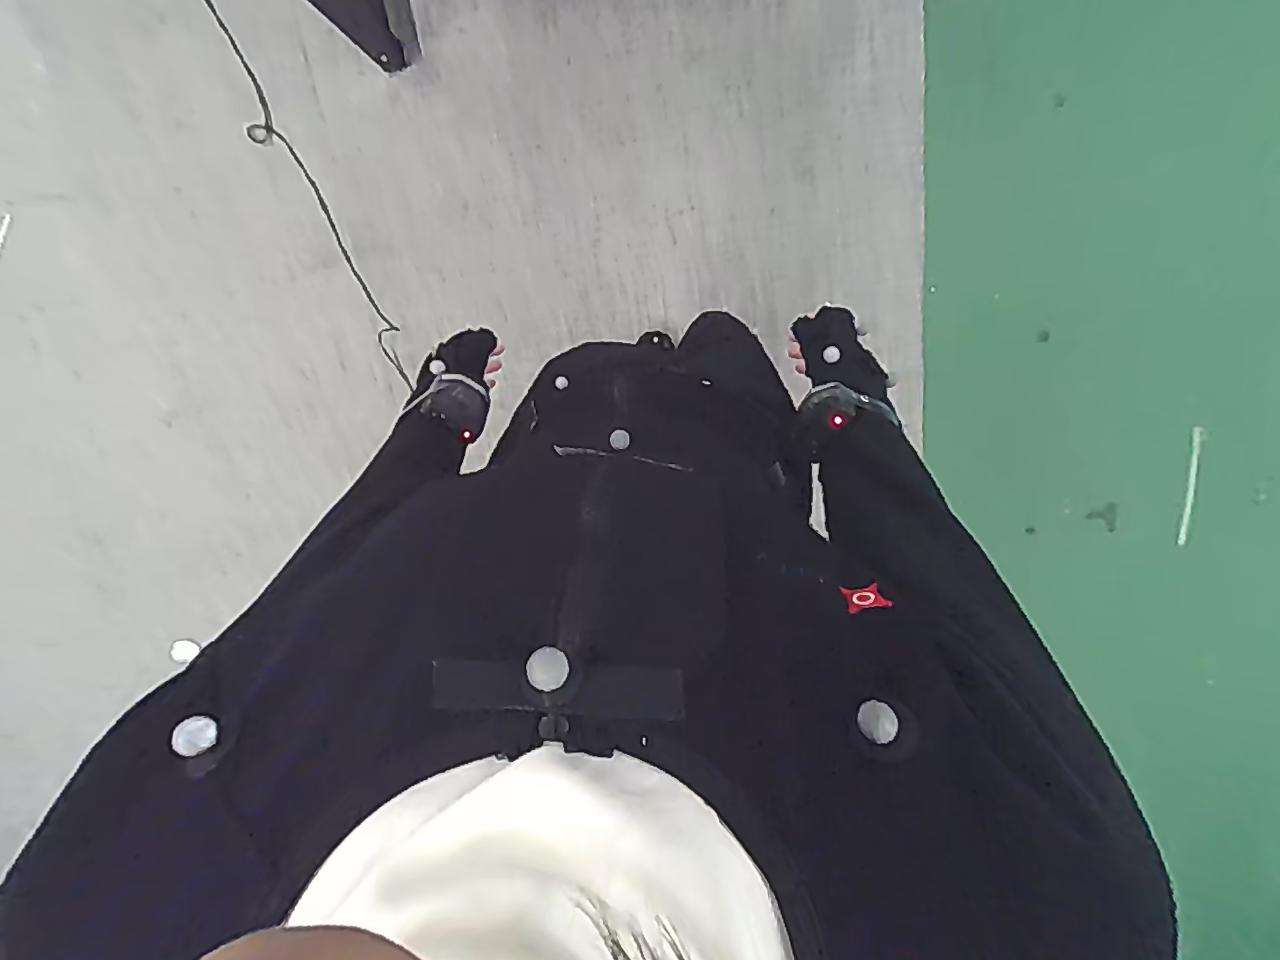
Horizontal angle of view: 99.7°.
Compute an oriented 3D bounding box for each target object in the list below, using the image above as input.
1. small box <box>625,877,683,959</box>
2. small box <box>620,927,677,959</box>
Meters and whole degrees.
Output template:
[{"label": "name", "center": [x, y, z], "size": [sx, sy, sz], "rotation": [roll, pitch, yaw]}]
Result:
[{"label": "small box", "center": [0.048, 1.447, 1.780], "size": [0.179, 0.176, 0.168], "rotation": [-4, 106, 4]}, {"label": "small box", "center": [0.029, 1.497, 1.627], "size": [0.168, 0.176, 0.179], "rotation": [-6, 105, 2]}]
